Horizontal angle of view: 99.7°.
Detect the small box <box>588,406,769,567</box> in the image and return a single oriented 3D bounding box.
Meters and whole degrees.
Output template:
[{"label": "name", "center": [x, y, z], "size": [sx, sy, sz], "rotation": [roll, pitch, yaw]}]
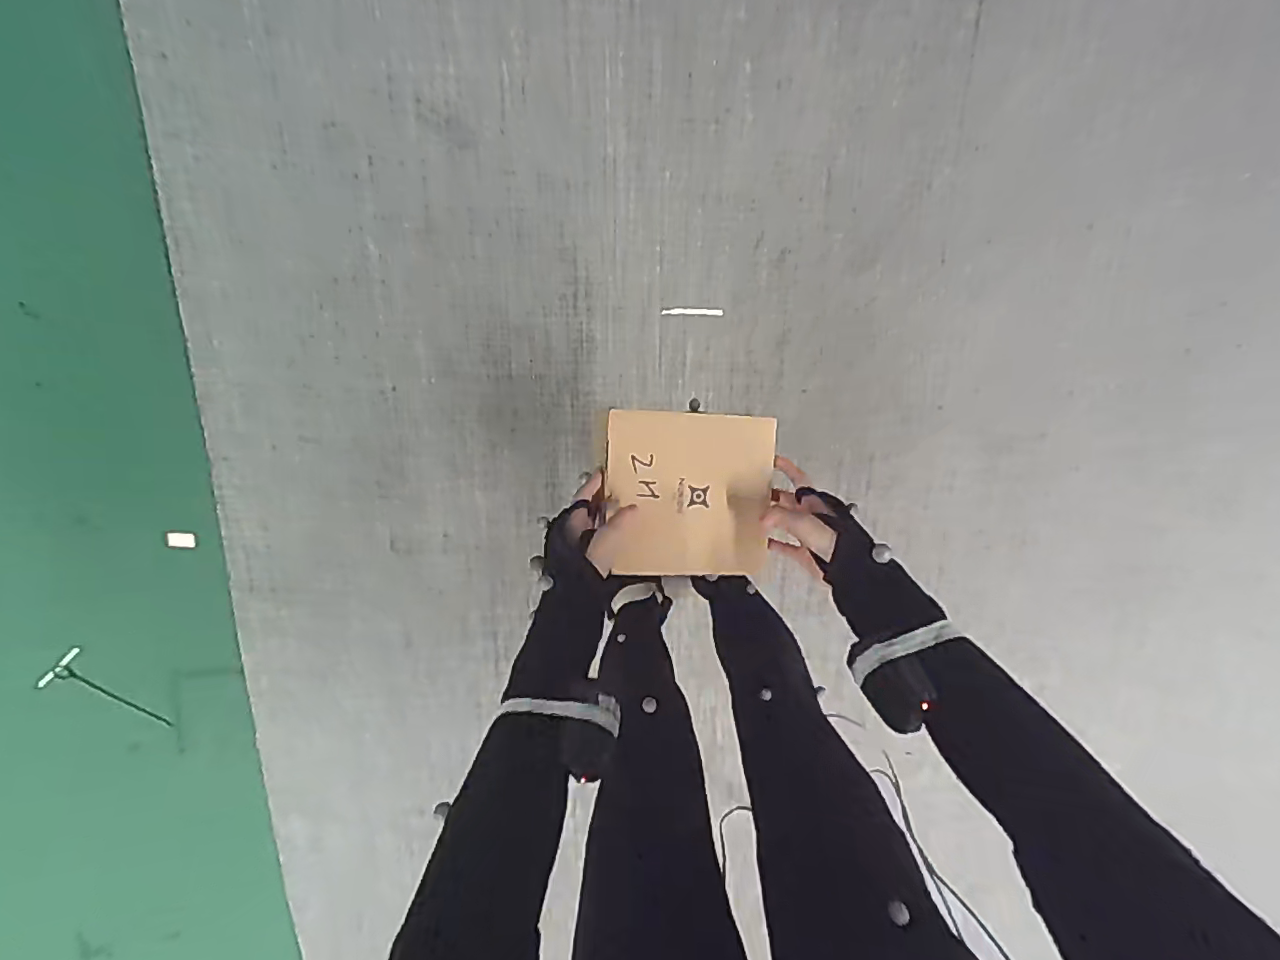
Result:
[{"label": "small box", "center": [0.034, 0.000, 0.641], "size": [0.179, 0.176, 0.168], "rotation": [2, 96, -9]}]
